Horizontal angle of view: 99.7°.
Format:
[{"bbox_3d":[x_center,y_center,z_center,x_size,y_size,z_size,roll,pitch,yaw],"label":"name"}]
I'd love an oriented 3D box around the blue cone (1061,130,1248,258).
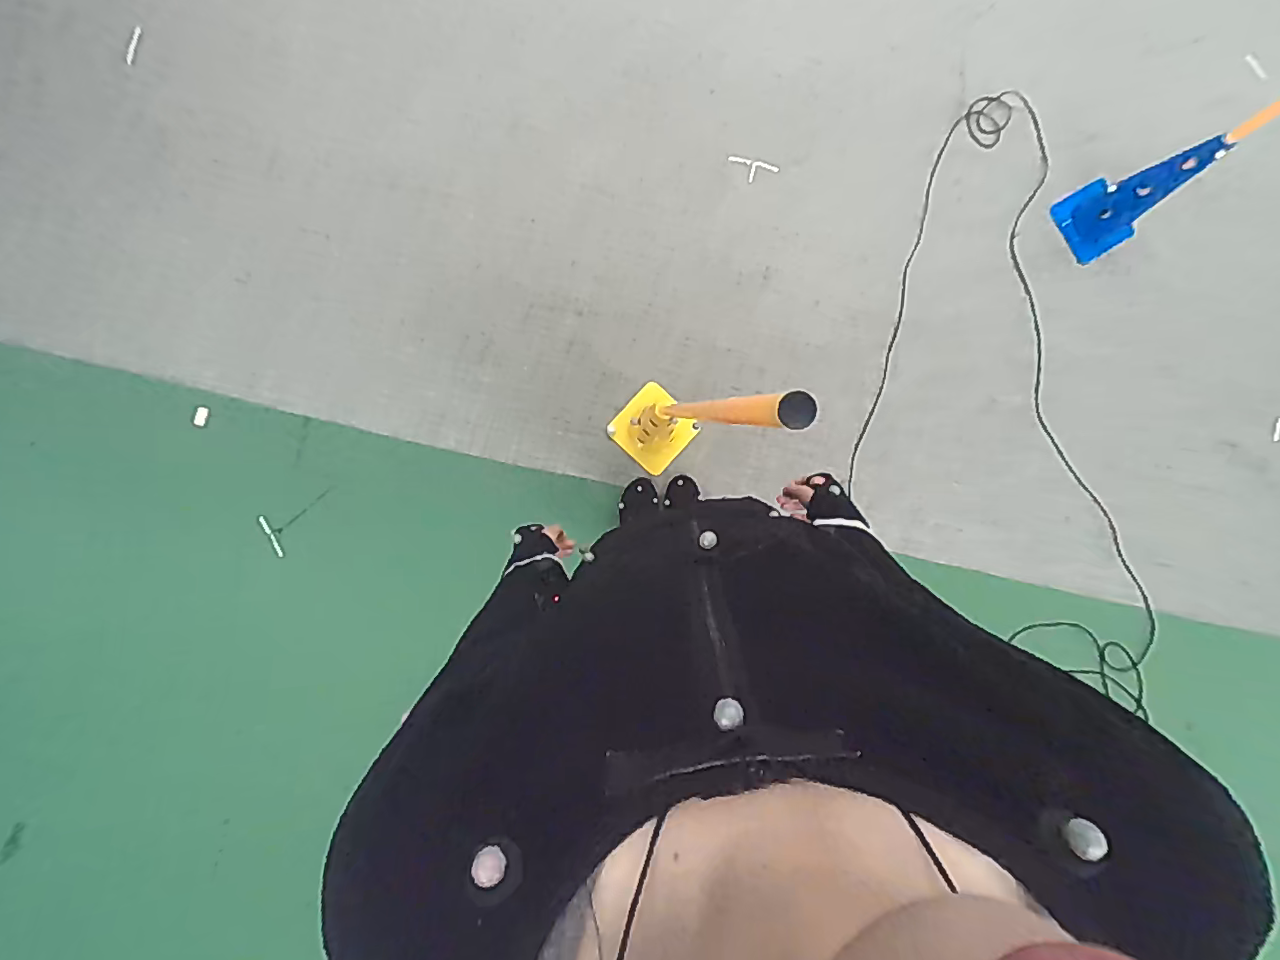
[{"bbox_3d":[1.345,-0.774,1.409,0.193,0.380,0.192,-32,89,-5],"label":"blue cone"}]
